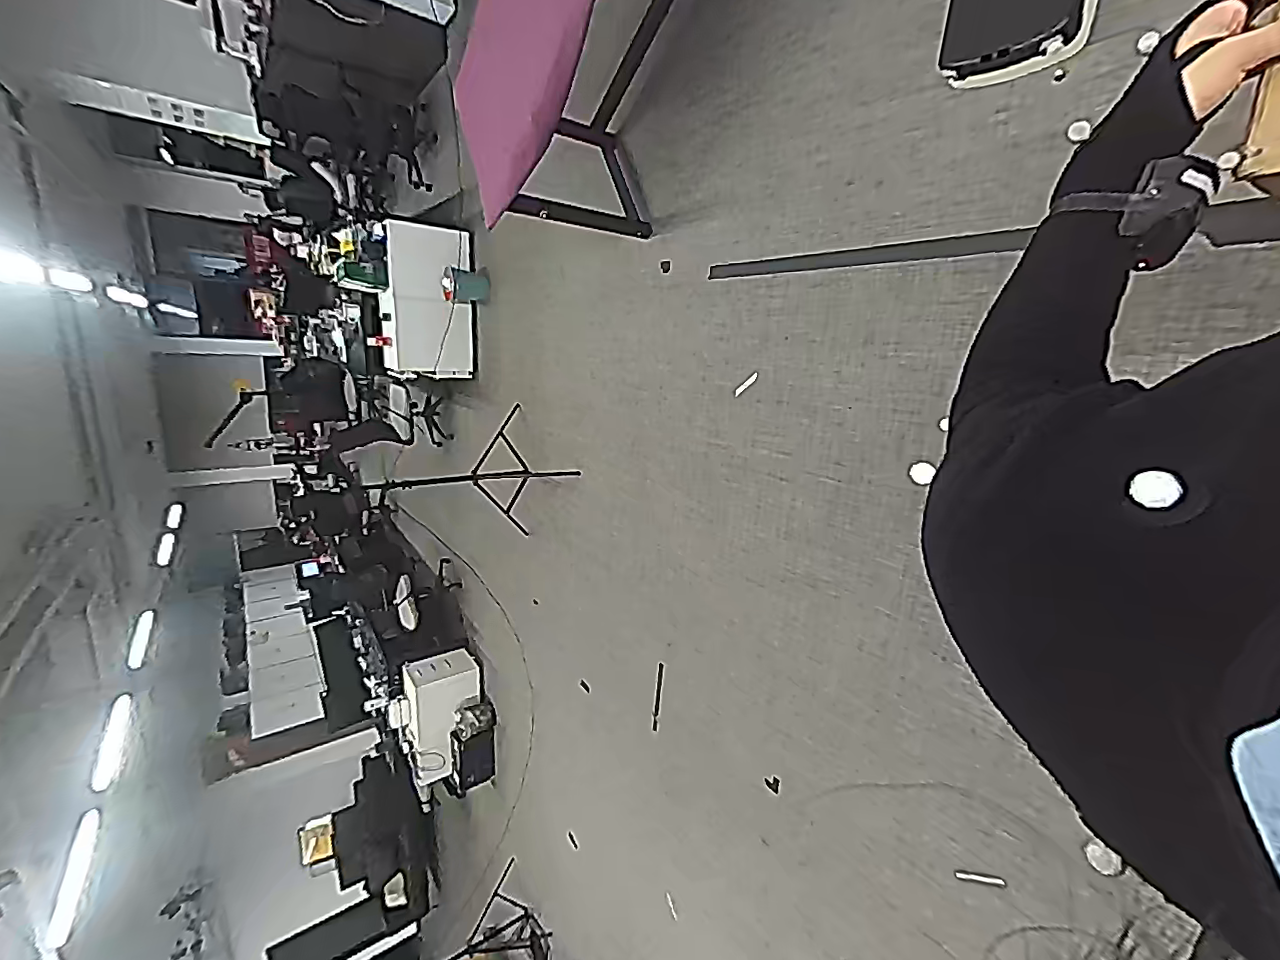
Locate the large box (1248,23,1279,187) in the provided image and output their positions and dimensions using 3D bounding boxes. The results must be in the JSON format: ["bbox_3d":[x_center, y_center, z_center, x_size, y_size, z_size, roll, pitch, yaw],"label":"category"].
[{"bbox_3d":[0.673,-0.354,0.270,0.408,0.320,0.320,21,115,56],"label":"large box"}]
